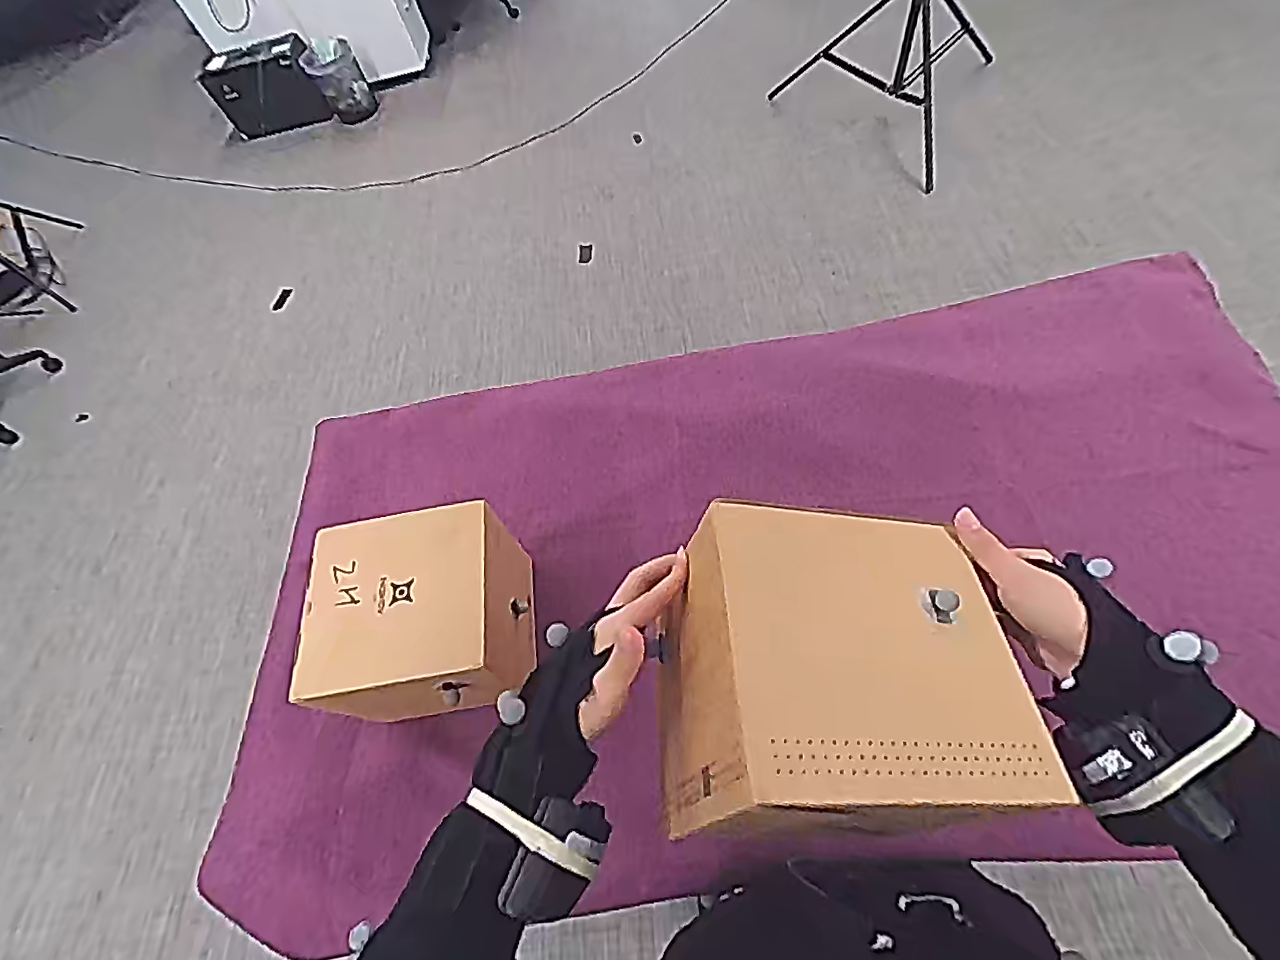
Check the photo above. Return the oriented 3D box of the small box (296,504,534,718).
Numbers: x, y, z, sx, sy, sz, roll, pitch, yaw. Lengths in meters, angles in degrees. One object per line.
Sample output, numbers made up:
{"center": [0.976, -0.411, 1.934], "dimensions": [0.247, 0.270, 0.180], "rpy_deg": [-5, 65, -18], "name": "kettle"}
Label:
{"center": [-0.215, 0.146, 0.574], "dimensions": [0.179, 0.176, 0.168], "rpy_deg": [-10, 59, 2], "name": "small box"}
